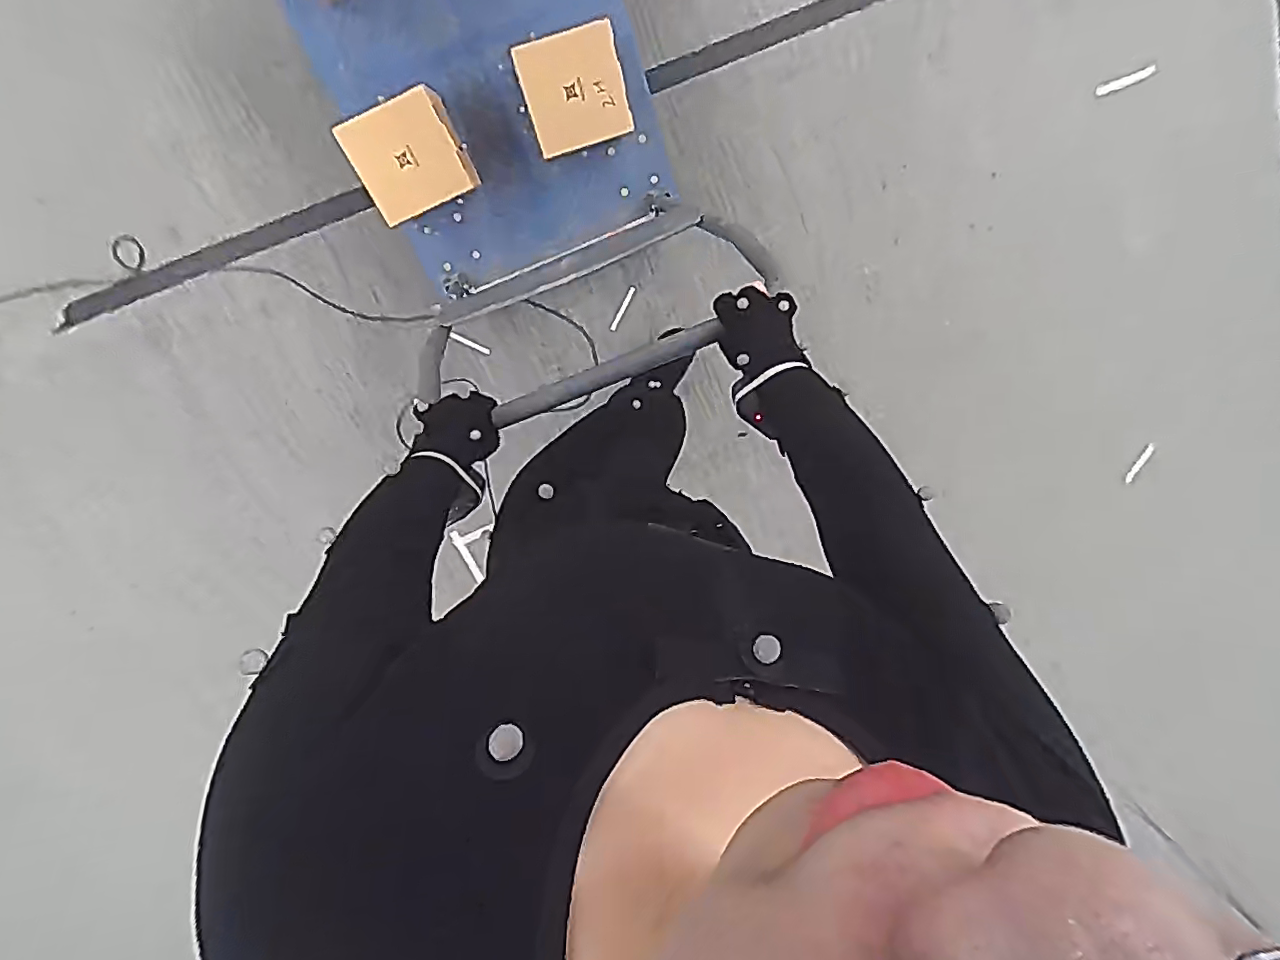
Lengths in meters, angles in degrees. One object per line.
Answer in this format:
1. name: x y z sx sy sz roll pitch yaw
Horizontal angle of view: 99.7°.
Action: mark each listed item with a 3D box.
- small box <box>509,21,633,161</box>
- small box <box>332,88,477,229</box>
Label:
1. small box: -0.127 -0.706 1.001 0.179 0.176 0.168 -19 121 -1
2. small box: -0.422 -0.589 1.008 0.179 0.176 0.168 -26 120 2
